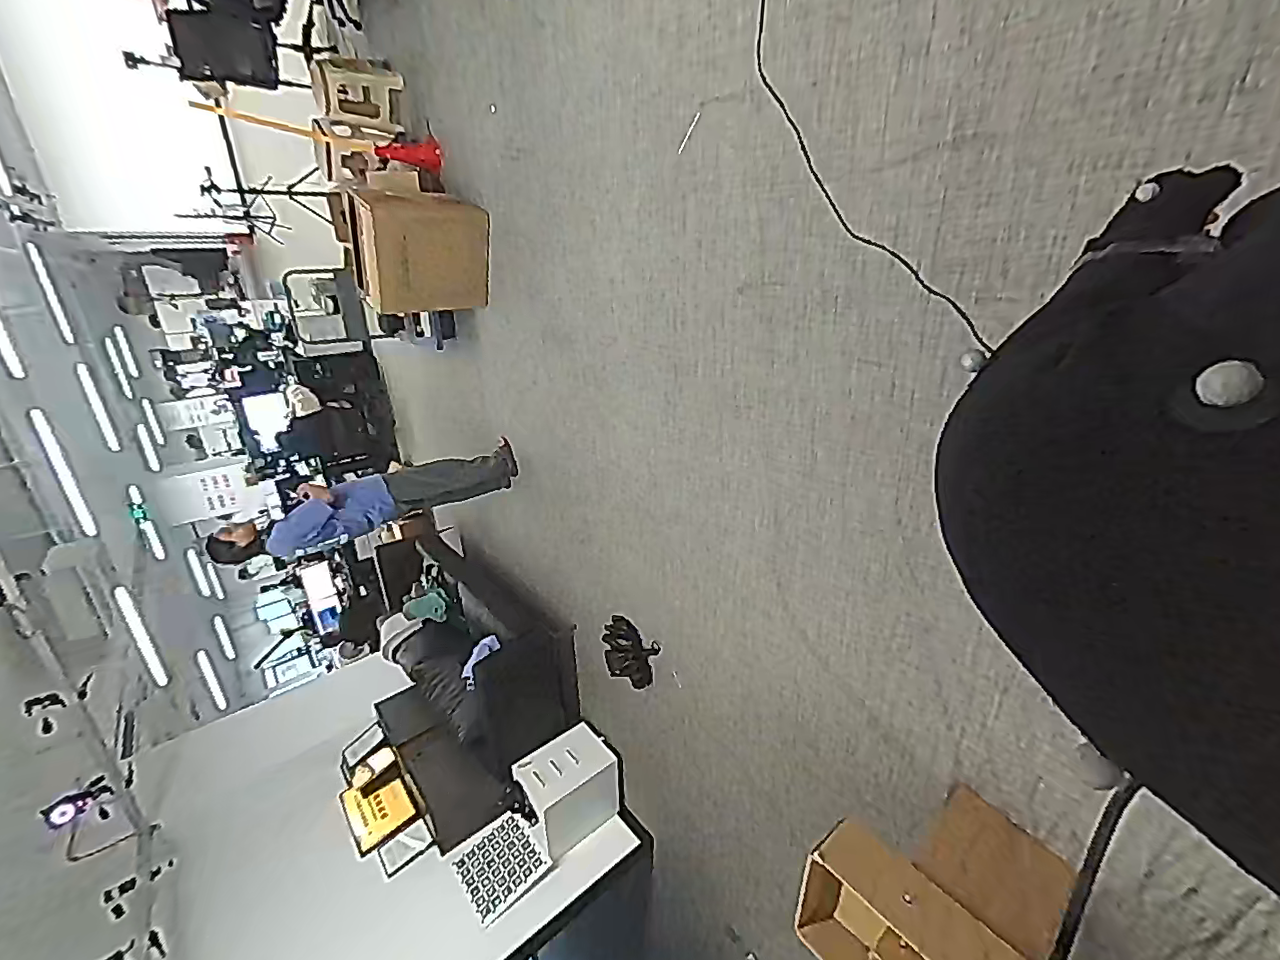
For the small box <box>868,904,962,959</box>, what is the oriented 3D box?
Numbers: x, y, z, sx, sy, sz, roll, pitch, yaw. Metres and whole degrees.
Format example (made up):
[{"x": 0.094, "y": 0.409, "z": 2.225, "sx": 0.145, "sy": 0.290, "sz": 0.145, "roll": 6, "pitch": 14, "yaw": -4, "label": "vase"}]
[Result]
[{"x": 0.701, "y": 1.258, "z": 1.391, "sx": 0.168, "sy": 0.176, "sz": 0.179, "roll": 24, "pitch": 126, "yaw": 47, "label": "small box"}]
